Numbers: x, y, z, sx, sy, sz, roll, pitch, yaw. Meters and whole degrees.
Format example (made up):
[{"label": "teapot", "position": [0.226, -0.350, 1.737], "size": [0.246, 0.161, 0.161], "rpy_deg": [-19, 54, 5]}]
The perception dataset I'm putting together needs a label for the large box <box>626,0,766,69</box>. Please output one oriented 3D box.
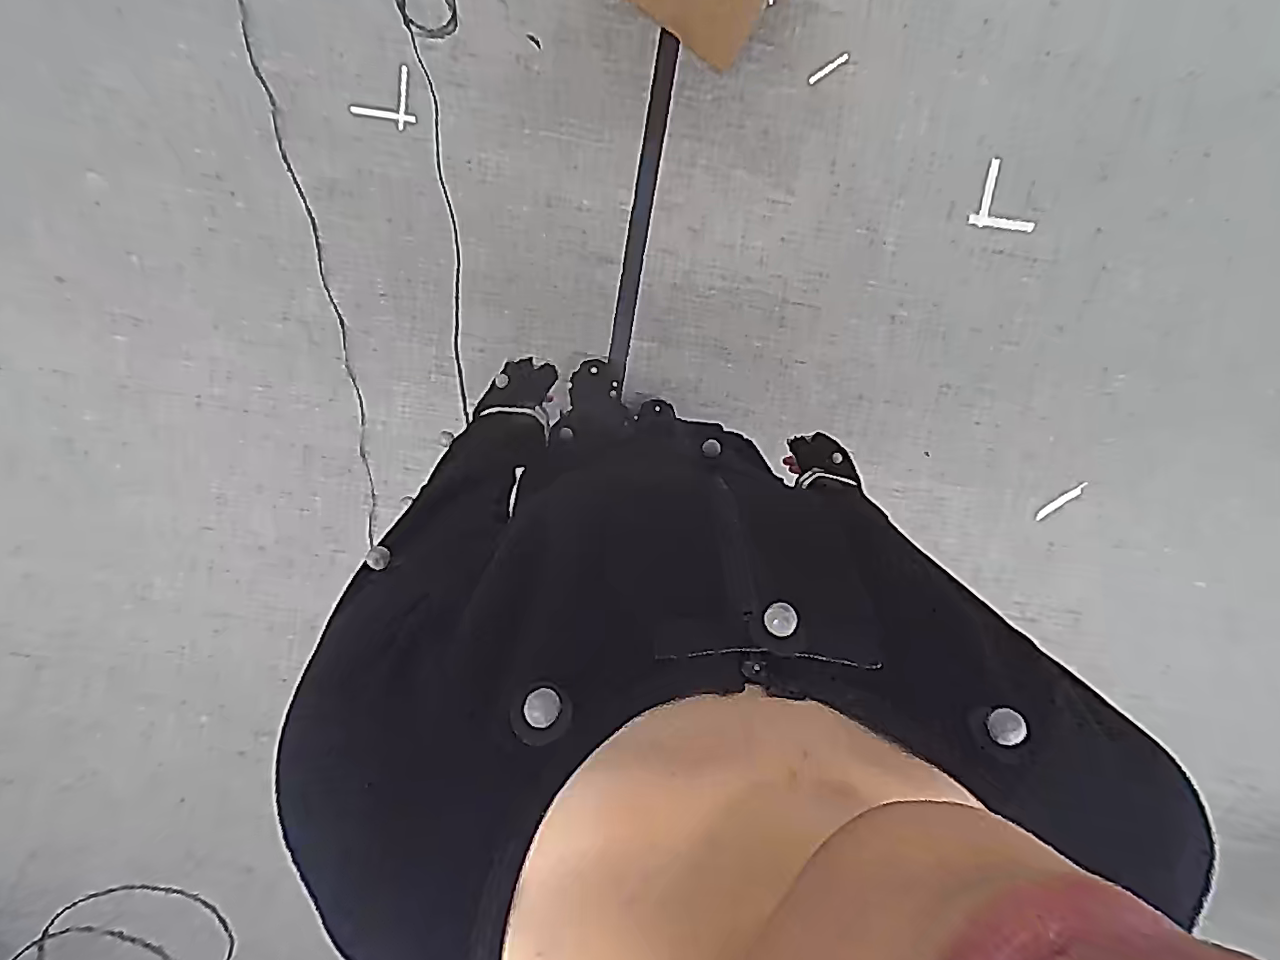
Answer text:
[{"label": "large box", "position": [0.119, -1.179, 1.112], "size": [0.408, 0.320, 0.320], "rpy_deg": [32, 99, -8]}]
